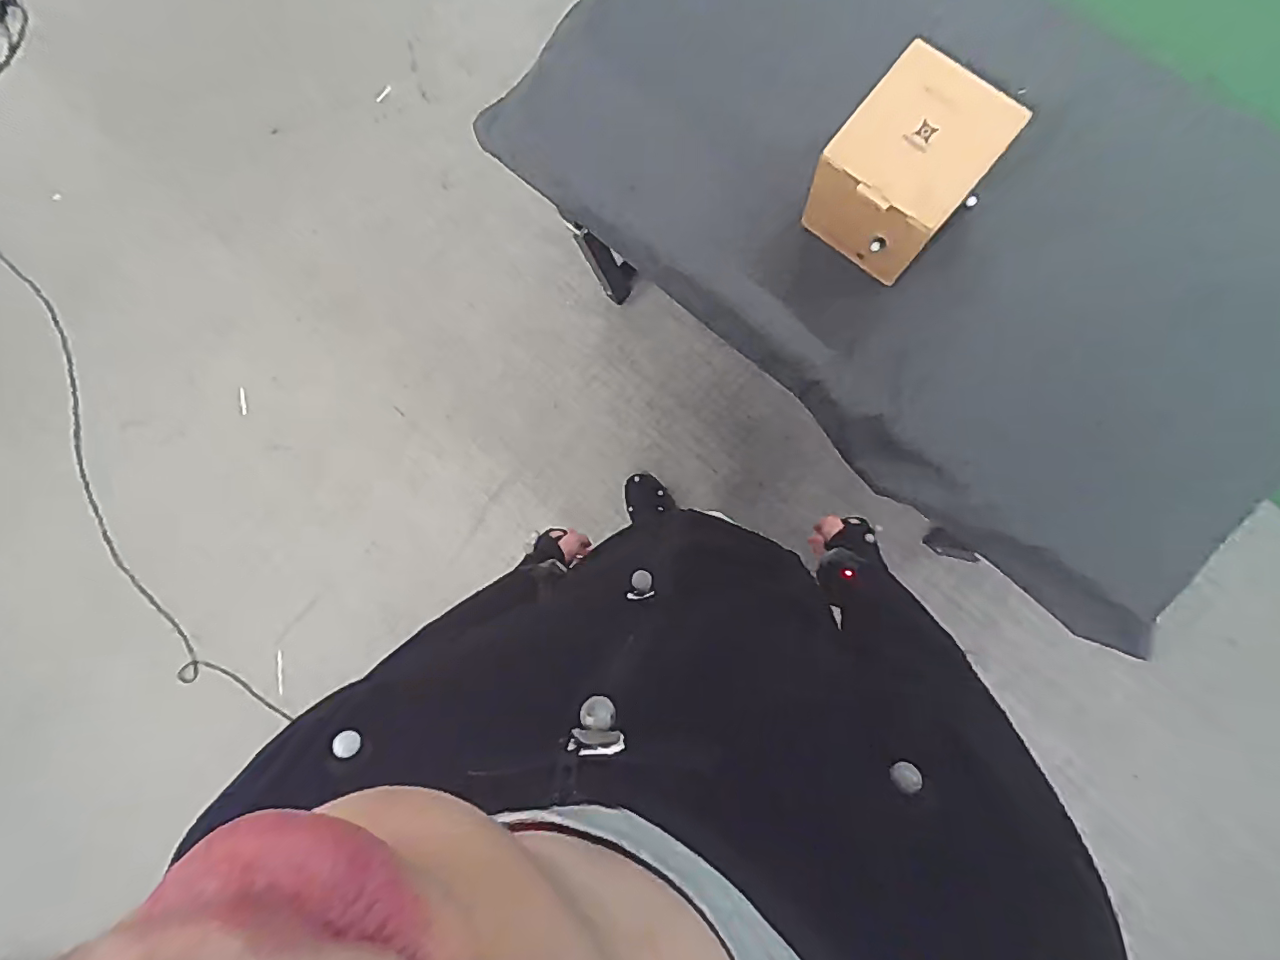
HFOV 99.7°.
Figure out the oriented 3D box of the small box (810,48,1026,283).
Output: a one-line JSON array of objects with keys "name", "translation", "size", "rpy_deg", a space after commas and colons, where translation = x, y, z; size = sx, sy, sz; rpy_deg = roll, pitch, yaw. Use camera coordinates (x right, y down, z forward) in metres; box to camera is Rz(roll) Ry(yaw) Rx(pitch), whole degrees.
[{"name": "small box", "translation": [0.349, -0.400, 0.724], "size": [0.168, 0.176, 0.179], "rpy_deg": [40, 93, 7]}]
